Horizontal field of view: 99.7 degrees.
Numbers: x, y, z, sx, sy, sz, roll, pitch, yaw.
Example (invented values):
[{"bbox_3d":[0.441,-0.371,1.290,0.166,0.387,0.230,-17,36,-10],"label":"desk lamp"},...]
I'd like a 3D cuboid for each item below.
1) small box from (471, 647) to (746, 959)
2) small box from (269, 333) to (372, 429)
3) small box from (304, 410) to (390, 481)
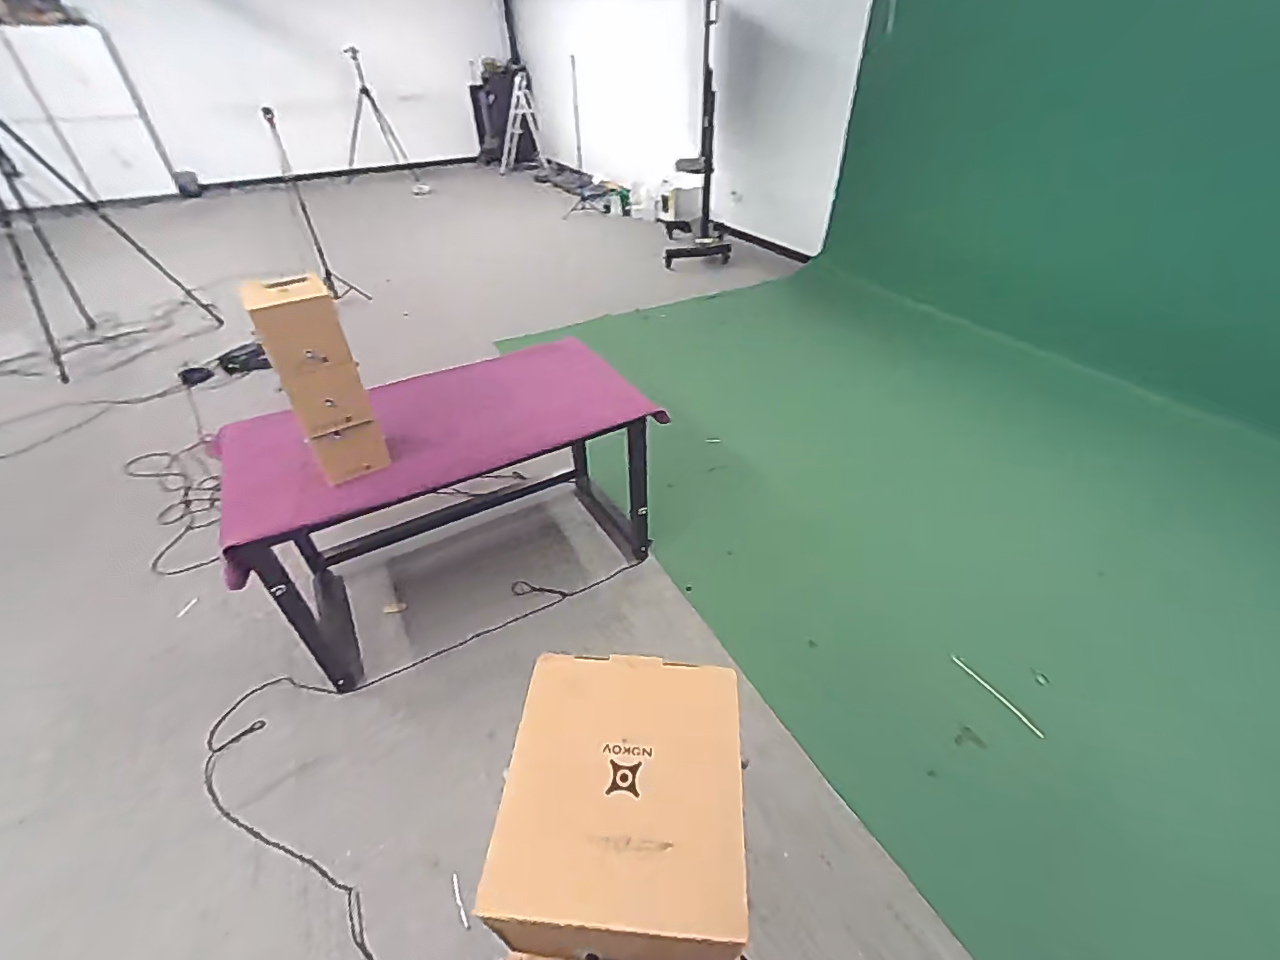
[{"bbox_3d":[-0.013,0.258,0.426,0.168,0.176,0.179,3,43,4],"label":"small box"},{"bbox_3d":[-0.800,-0.245,1.361,0.168,0.176,0.179,-23,44,-26],"label":"small box"},{"bbox_3d":[-0.809,-0.126,1.476,0.168,0.176,0.179,-25,45,-26],"label":"small box"}]
